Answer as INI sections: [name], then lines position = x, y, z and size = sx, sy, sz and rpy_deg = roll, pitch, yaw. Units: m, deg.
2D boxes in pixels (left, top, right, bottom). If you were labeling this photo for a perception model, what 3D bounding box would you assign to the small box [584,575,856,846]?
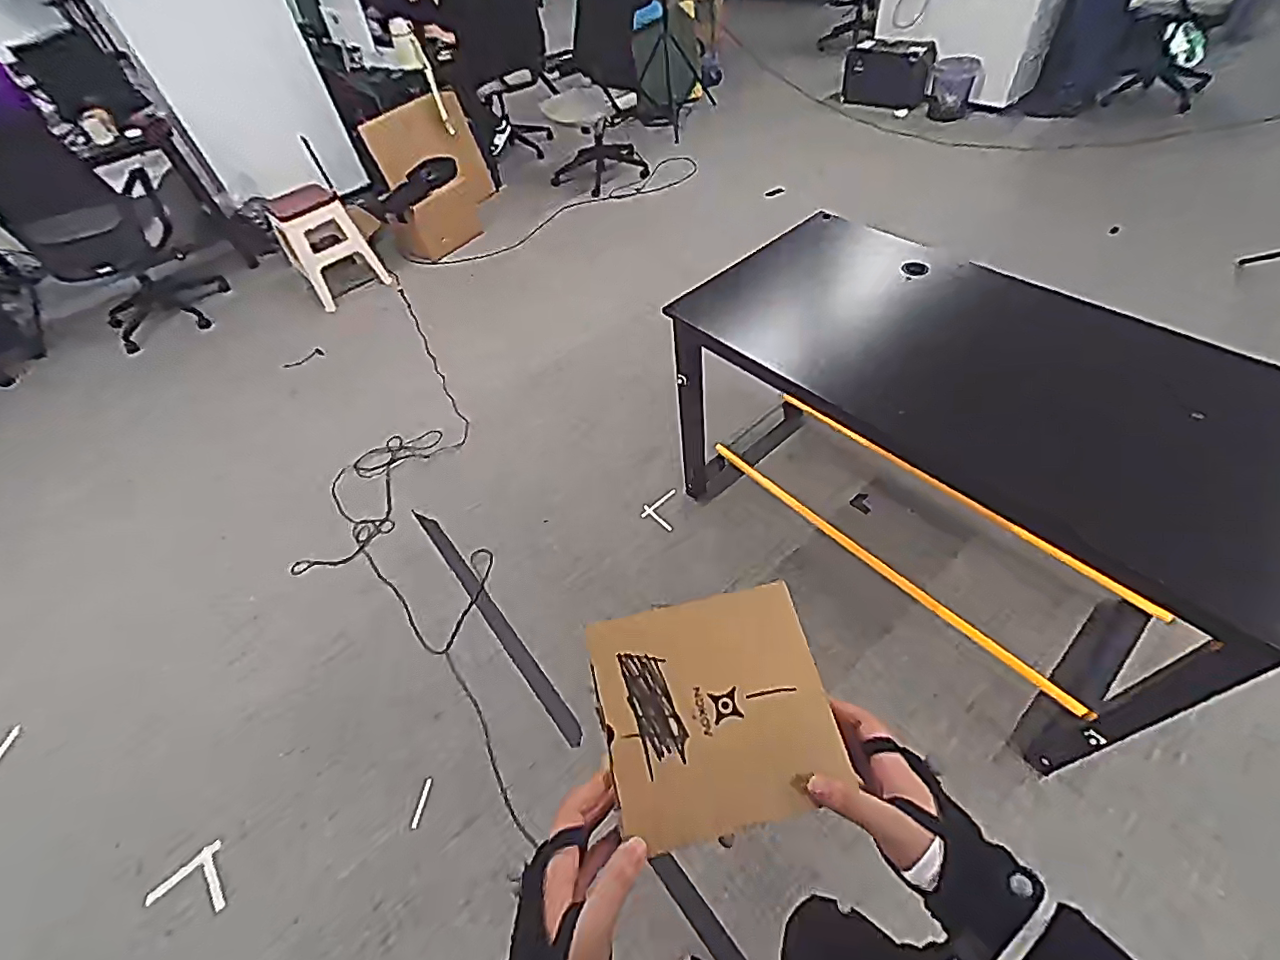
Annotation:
[small box]
position = 0.055, 0.202, 0.483
size = 0.179, 0.176, 0.168
rpy_deg = -11, 64, -7
